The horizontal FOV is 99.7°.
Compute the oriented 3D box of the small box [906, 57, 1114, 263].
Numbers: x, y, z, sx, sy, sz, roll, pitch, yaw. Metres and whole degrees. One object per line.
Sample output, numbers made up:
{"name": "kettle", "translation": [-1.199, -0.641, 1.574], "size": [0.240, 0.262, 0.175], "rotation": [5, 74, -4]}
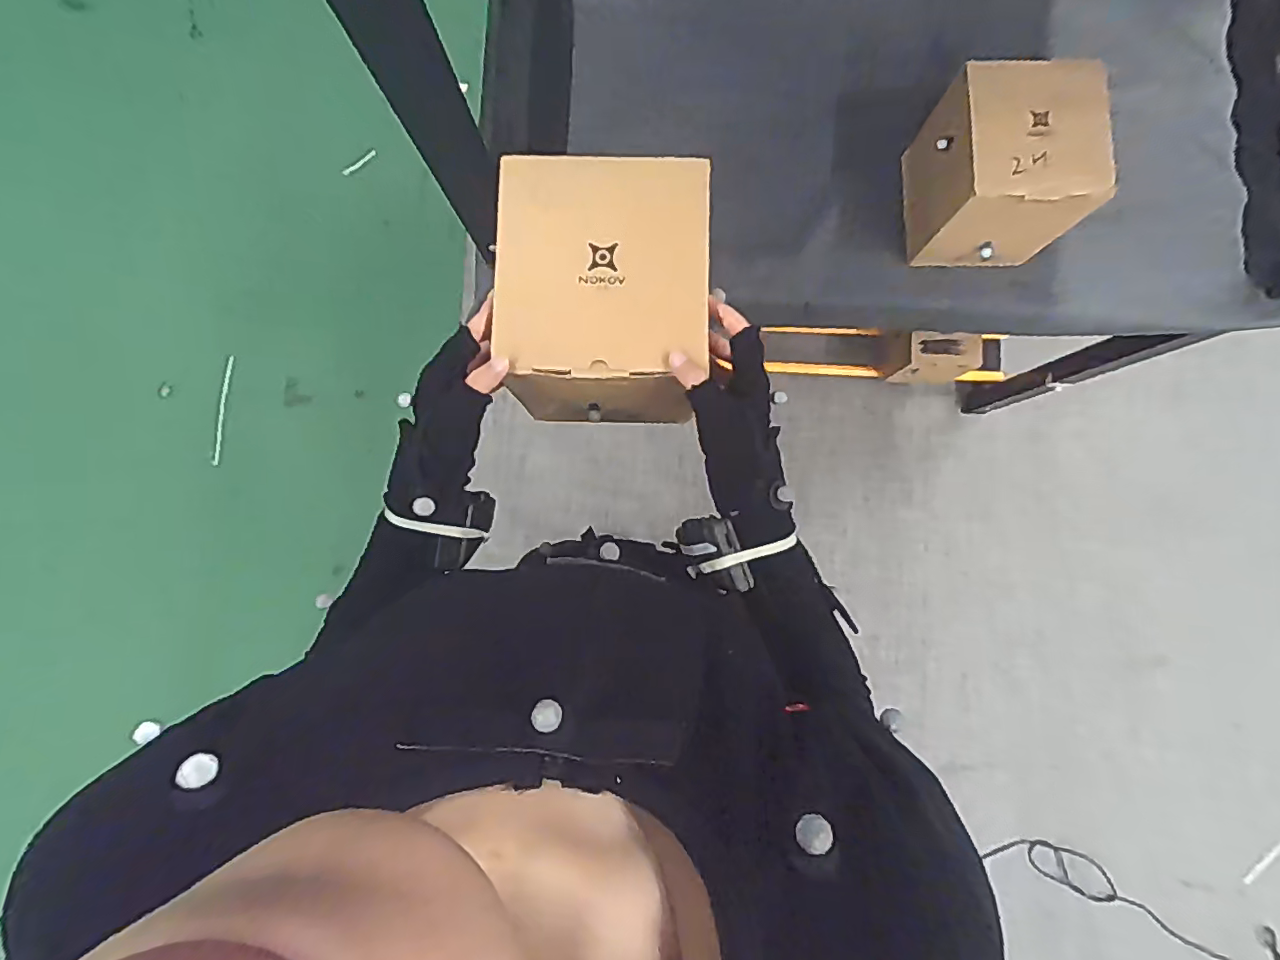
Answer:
{"name": "small box", "translation": [0.475, -0.416, 0.723], "size": [0.168, 0.176, 0.179], "rotation": [0, 84, 1]}
